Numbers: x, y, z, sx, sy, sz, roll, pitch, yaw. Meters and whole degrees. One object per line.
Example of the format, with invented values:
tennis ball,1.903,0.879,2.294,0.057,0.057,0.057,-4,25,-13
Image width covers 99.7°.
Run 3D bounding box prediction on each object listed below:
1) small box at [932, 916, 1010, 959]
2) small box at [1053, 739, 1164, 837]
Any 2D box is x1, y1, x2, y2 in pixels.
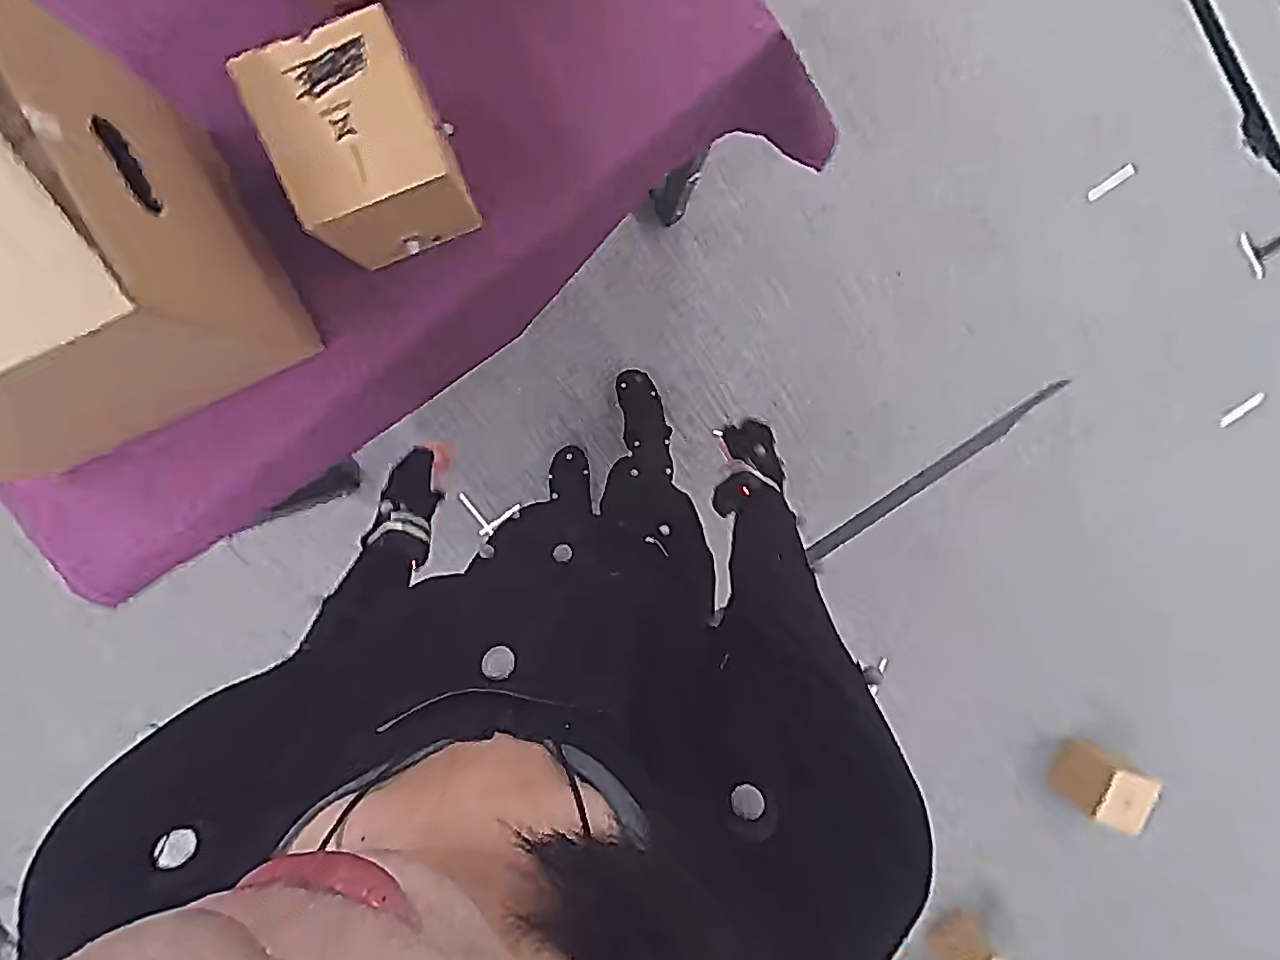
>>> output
small box,1.061,1.520,1.687,0.168,0.176,0.179,-43,97,1
small box,1.417,0.934,1.650,0.168,0.176,0.179,18,94,-7
